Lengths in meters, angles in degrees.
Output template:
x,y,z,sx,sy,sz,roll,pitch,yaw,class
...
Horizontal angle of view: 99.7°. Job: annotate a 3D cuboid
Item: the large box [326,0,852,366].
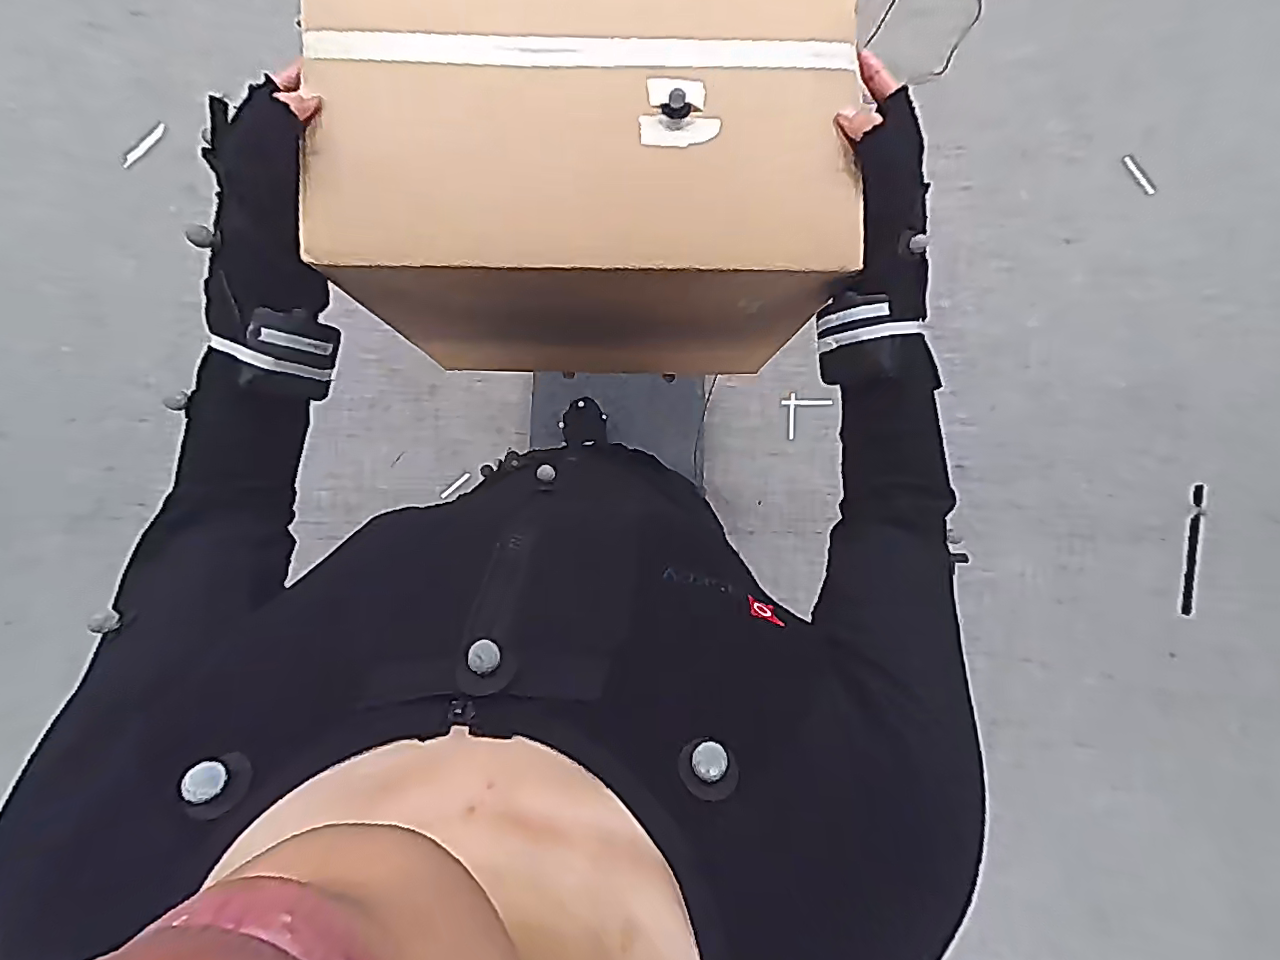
x,y,z,sx,sy,sz,roll,pitch,yaw,class
-0.044,-0.311,0.563,0.408,0.320,0.320,0,88,-2,large box
